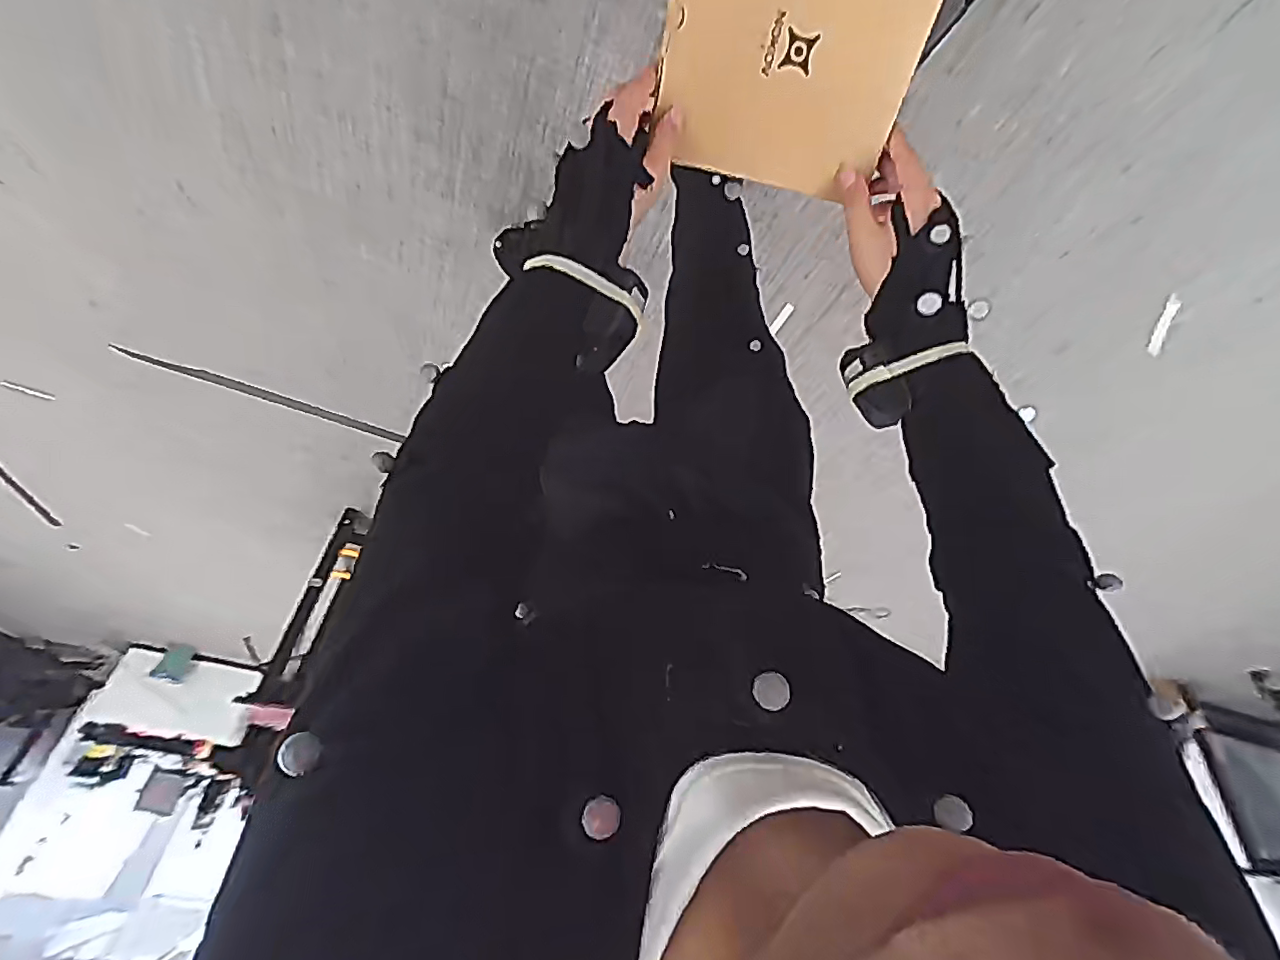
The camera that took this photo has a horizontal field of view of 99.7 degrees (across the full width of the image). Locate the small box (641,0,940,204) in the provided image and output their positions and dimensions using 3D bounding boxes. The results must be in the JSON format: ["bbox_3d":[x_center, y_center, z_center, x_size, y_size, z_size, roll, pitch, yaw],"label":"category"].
[{"bbox_3d":[0.105,-0.338,0.430,0.179,0.176,0.168,11,124,-4],"label":"small box"}]
